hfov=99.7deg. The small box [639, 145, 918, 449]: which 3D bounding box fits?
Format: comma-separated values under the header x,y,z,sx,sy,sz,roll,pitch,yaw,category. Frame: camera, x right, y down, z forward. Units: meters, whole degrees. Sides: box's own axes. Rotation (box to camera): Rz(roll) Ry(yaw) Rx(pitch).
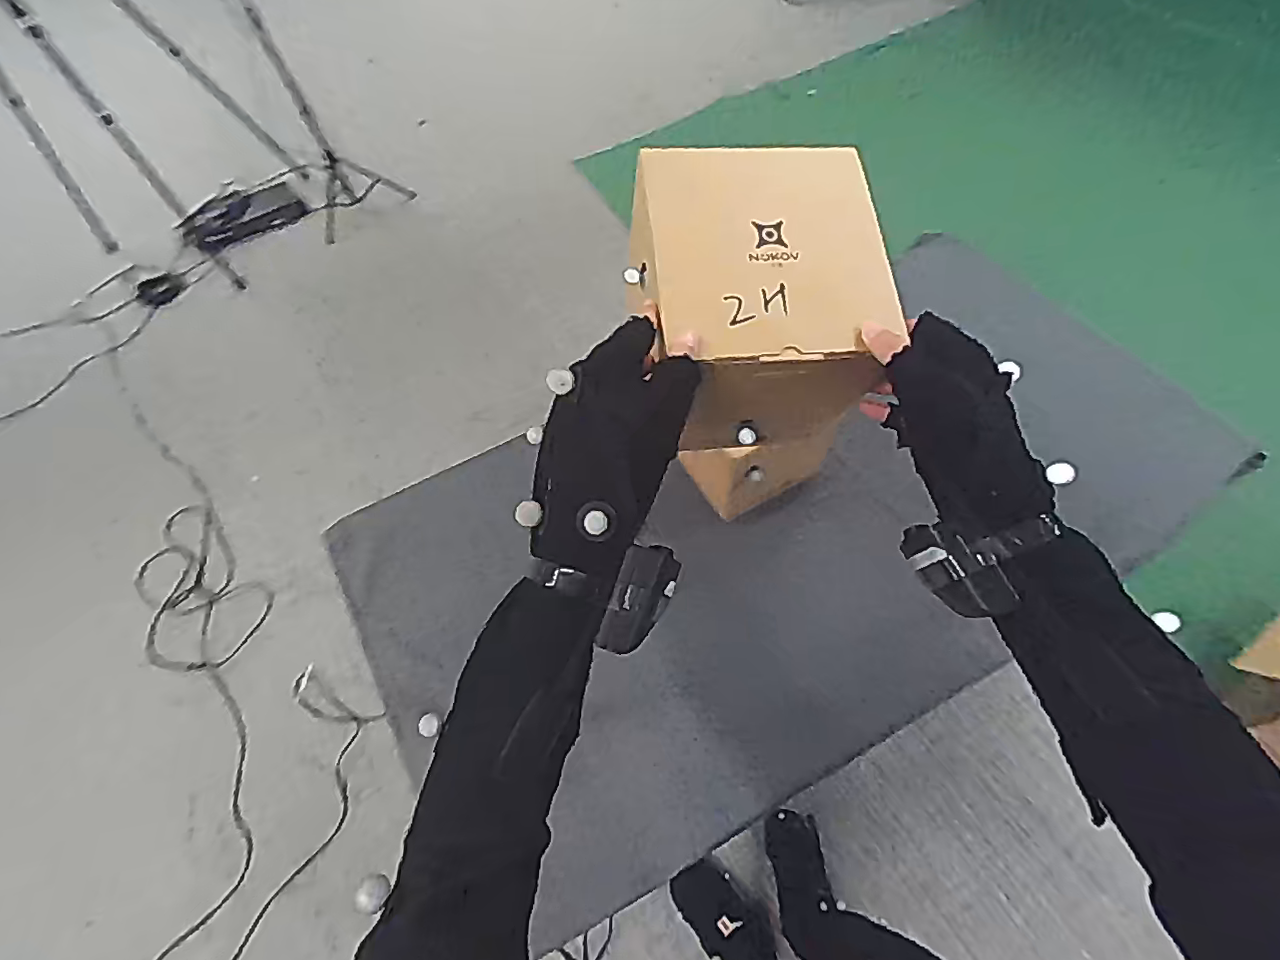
x,y,z,sx,sy,sz,roll,pitch,yaw,category
0.090,-0.138,0.448,0.168,0.176,0.179,-3,73,-5,small box
